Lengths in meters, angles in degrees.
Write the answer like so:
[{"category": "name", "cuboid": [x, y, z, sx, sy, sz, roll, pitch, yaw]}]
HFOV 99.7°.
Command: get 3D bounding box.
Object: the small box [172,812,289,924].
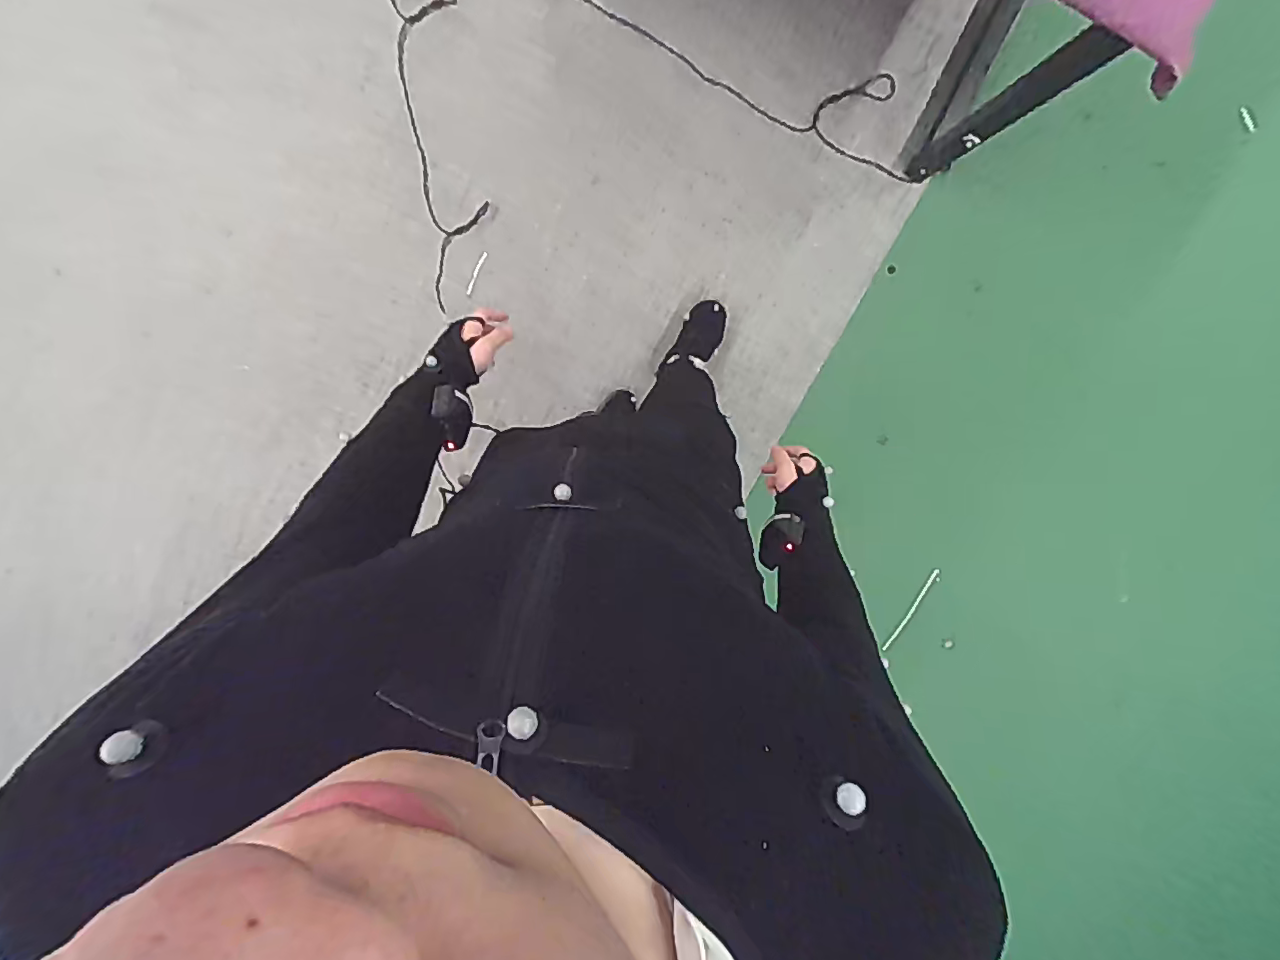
[{"category": "small box", "cuboid": [-0.987, 0.884, 1.283, 0.179, 0.176, 0.168, 32, 99, -7]}]
